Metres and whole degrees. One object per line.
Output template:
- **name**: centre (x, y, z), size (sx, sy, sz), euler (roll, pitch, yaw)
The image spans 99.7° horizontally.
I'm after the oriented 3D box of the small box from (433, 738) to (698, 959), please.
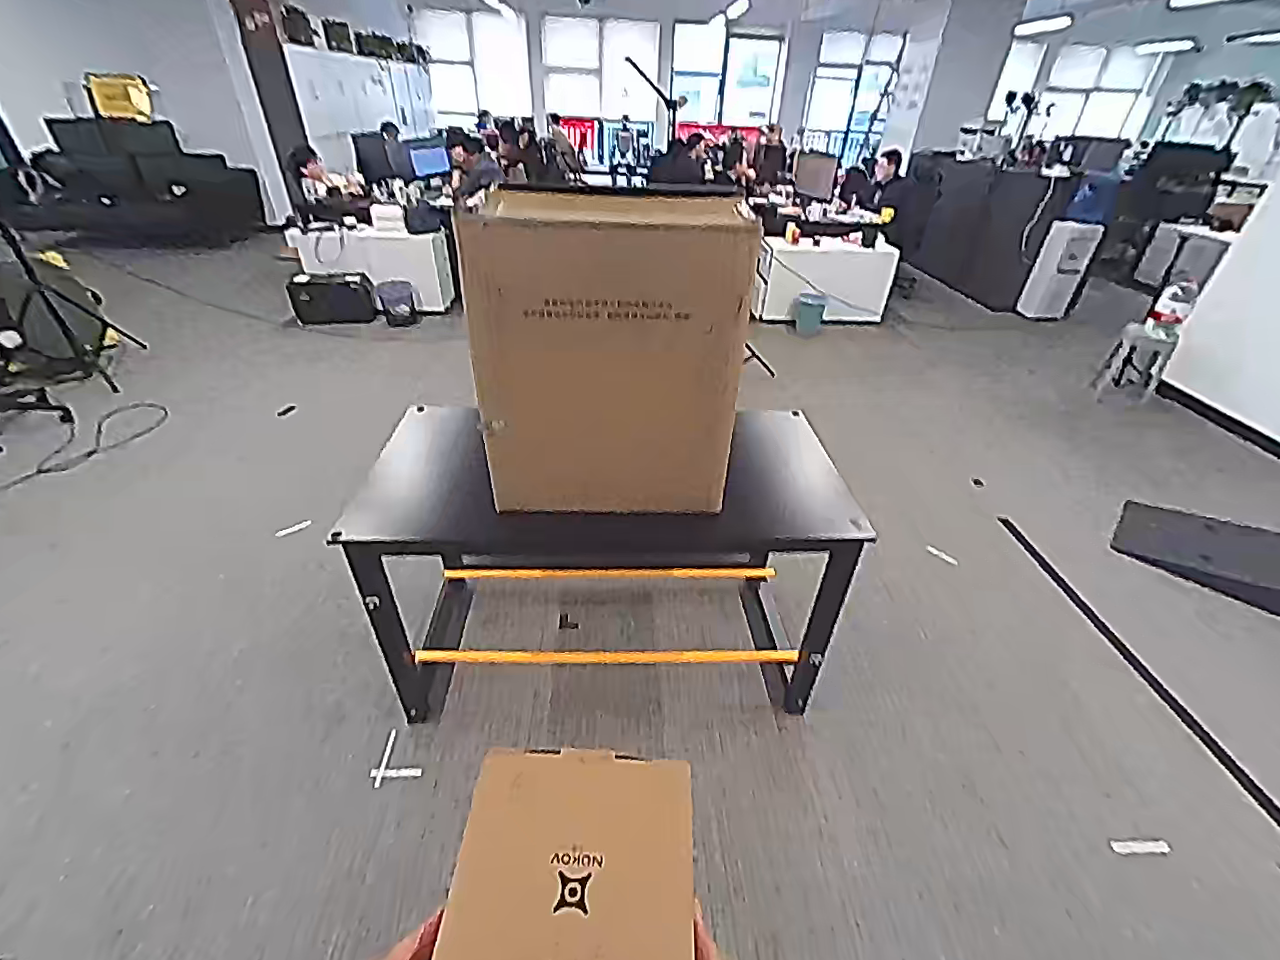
- **small box**: centre (-0.048, 0.330, 0.419), size (0.168, 0.176, 0.179), euler (4, 41, 0)
